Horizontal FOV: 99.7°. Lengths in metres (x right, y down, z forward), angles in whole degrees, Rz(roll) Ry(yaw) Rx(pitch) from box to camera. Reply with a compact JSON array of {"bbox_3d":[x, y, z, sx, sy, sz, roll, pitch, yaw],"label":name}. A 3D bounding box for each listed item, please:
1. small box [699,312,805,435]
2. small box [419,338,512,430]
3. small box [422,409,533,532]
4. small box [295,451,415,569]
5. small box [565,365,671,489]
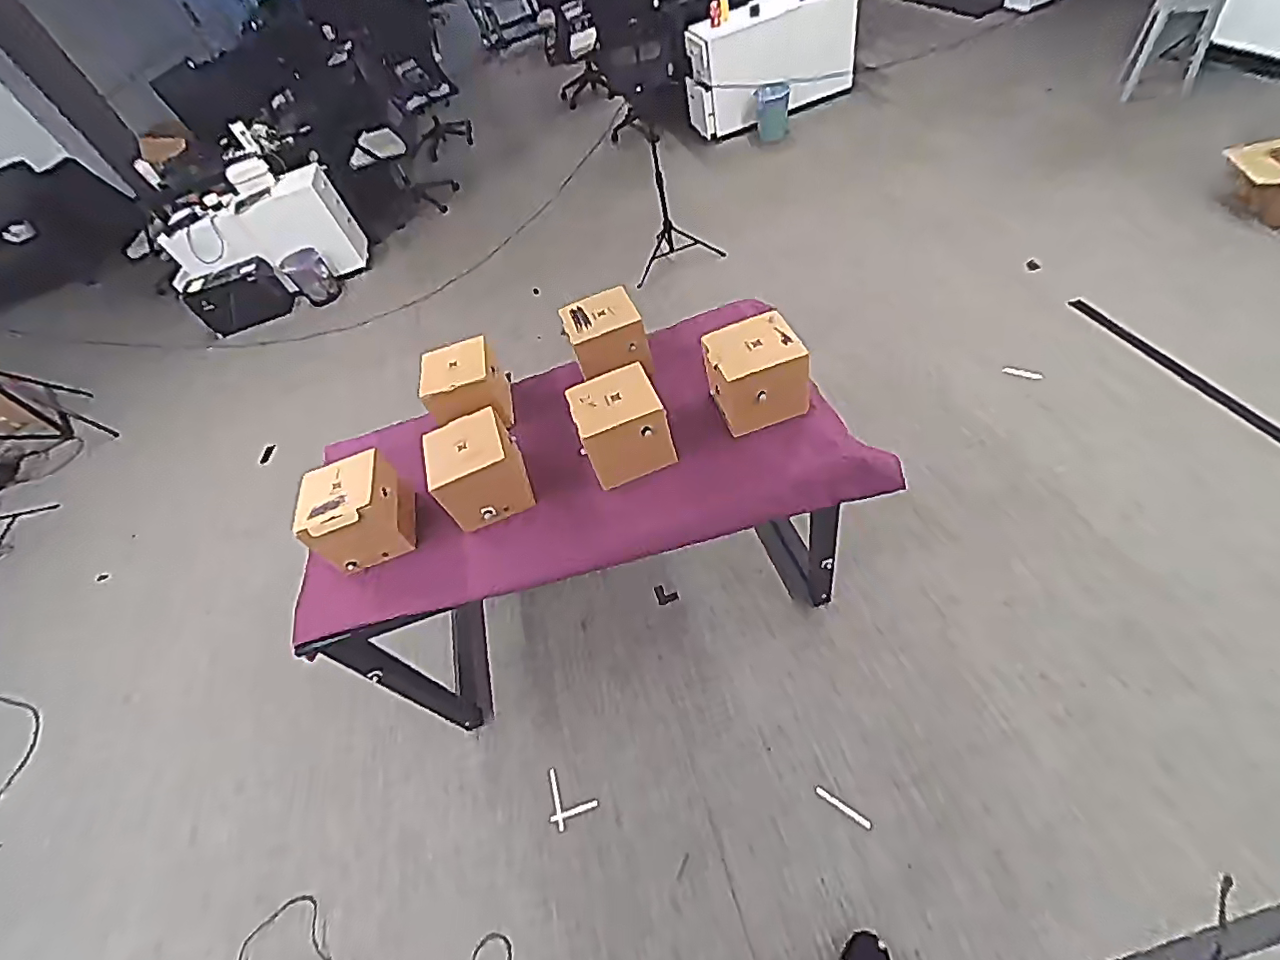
[{"bbox_3d":[0.245,-0.225,1.169,0.179,0.176,0.168,-20,50,2],"label":"small box"},{"bbox_3d":[-0.434,-0.221,1.361,0.168,0.176,0.179,-18,50,1],"label":"small box"},{"bbox_3d":[-0.353,-0.018,1.182,0.168,0.176,0.179,-24,50,-2],"label":"small box"},{"bbox_3d":[-0.611,0.074,1.181,0.168,0.176,0.179,-21,48,-1],"label":"small box"},{"bbox_3d":[-0.041,-0.111,1.163,0.179,0.176,0.168,-22,49,-1],"label":"small box"}]
